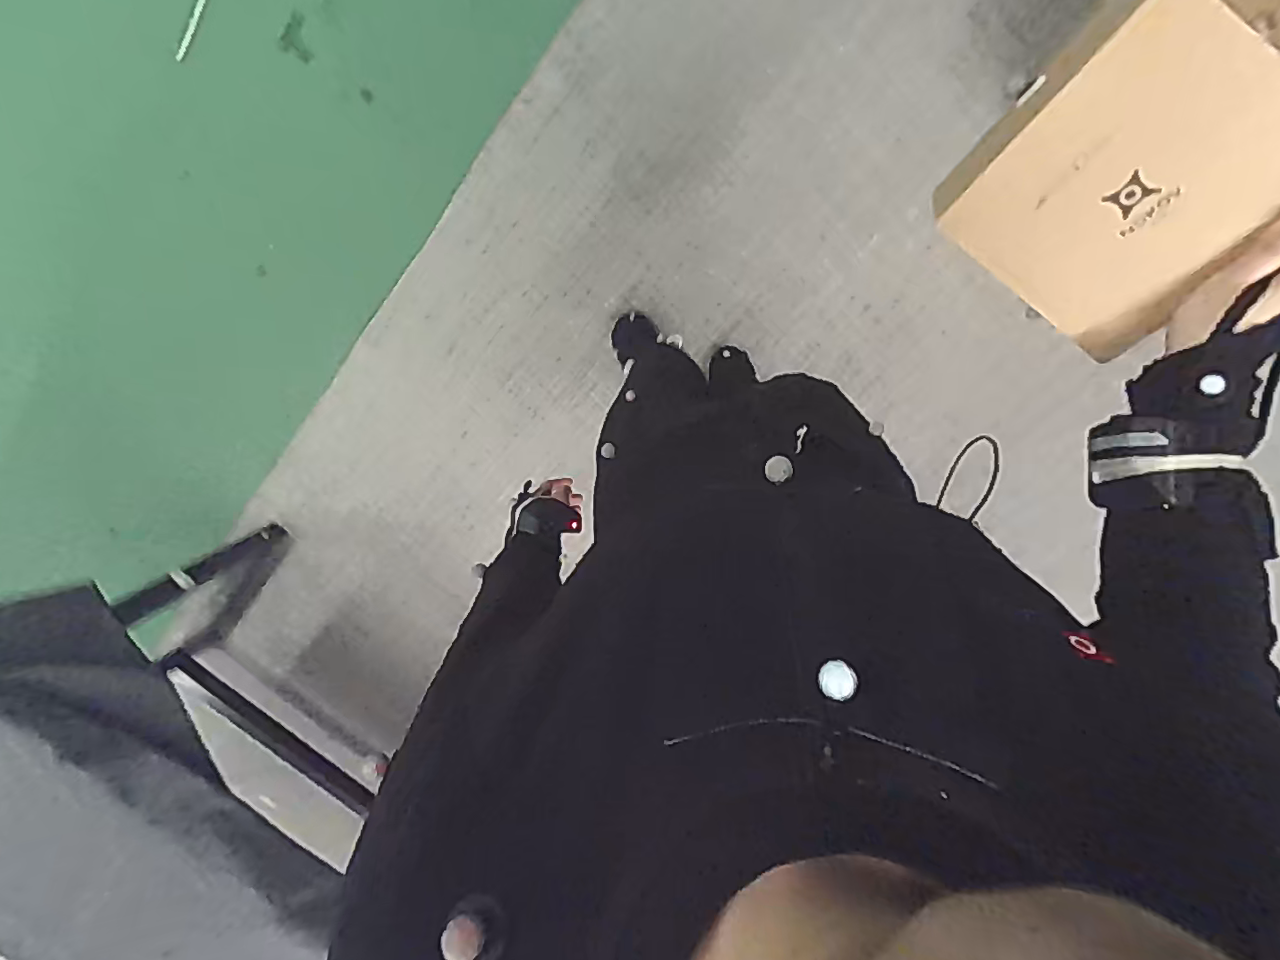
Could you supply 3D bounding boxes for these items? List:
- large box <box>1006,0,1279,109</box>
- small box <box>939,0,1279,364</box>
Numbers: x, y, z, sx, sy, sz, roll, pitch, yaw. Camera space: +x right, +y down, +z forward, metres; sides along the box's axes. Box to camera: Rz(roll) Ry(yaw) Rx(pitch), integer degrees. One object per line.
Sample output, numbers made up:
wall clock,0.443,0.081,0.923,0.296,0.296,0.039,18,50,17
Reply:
large box,0.942,-0.684,0.901,0.408,0.320,0.320,40,109,-8
small box,0.365,-0.229,0.419,0.179,0.176,0.168,39,131,-2
